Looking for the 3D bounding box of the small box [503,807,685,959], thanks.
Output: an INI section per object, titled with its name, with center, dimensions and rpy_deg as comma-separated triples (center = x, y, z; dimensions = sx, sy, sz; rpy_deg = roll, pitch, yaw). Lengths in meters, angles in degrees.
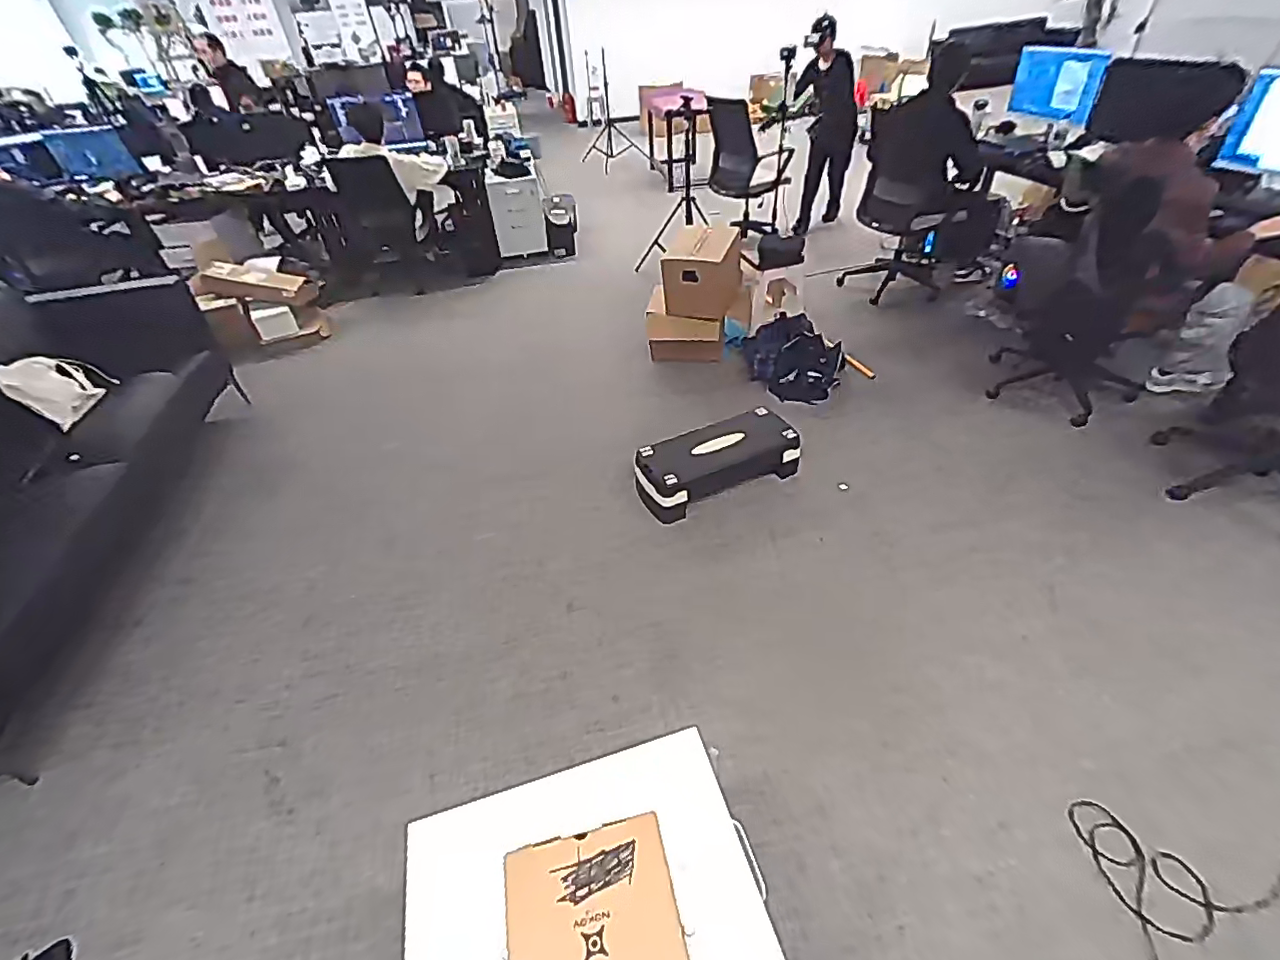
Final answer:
[small box]
center = -0.045, 0.487, 0.569
dimensions = 0.168, 0.176, 0.179
rpy_deg = -11, 41, -8
